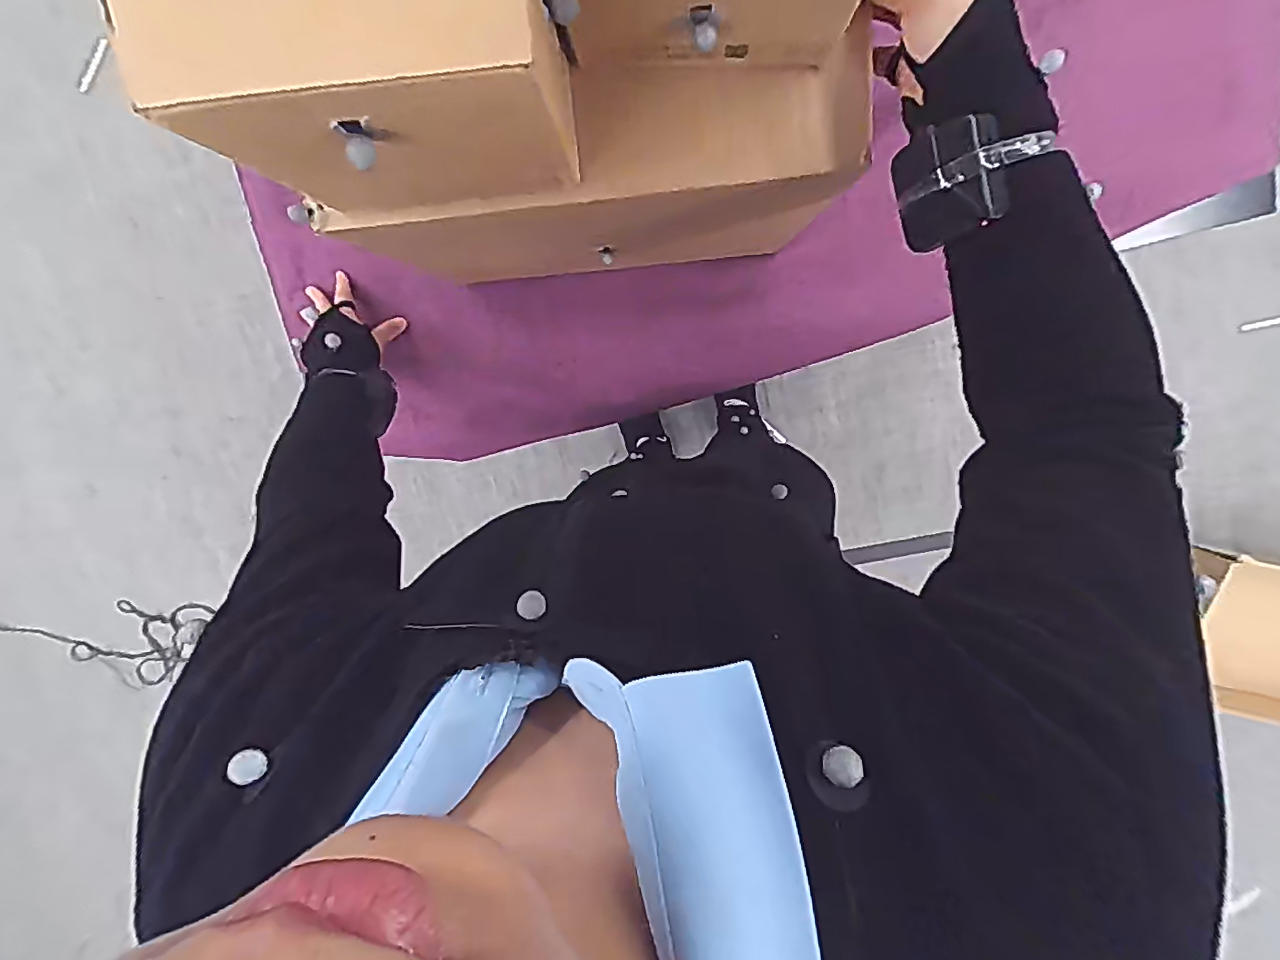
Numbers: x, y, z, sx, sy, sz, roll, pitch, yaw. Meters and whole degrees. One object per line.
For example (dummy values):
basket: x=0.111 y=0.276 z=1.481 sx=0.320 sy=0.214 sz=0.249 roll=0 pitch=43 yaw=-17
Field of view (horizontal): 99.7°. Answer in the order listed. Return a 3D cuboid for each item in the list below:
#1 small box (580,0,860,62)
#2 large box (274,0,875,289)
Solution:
small box: x=0.041 y=-0.340 z=0.253 sx=0.168 sy=0.176 sz=0.179 roll=1 pitch=102 yaw=3
large box: x=-0.044 y=-0.377 z=0.499 sx=0.408 sy=0.320 sz=0.320 roll=-6 pitch=101 yaw=4
